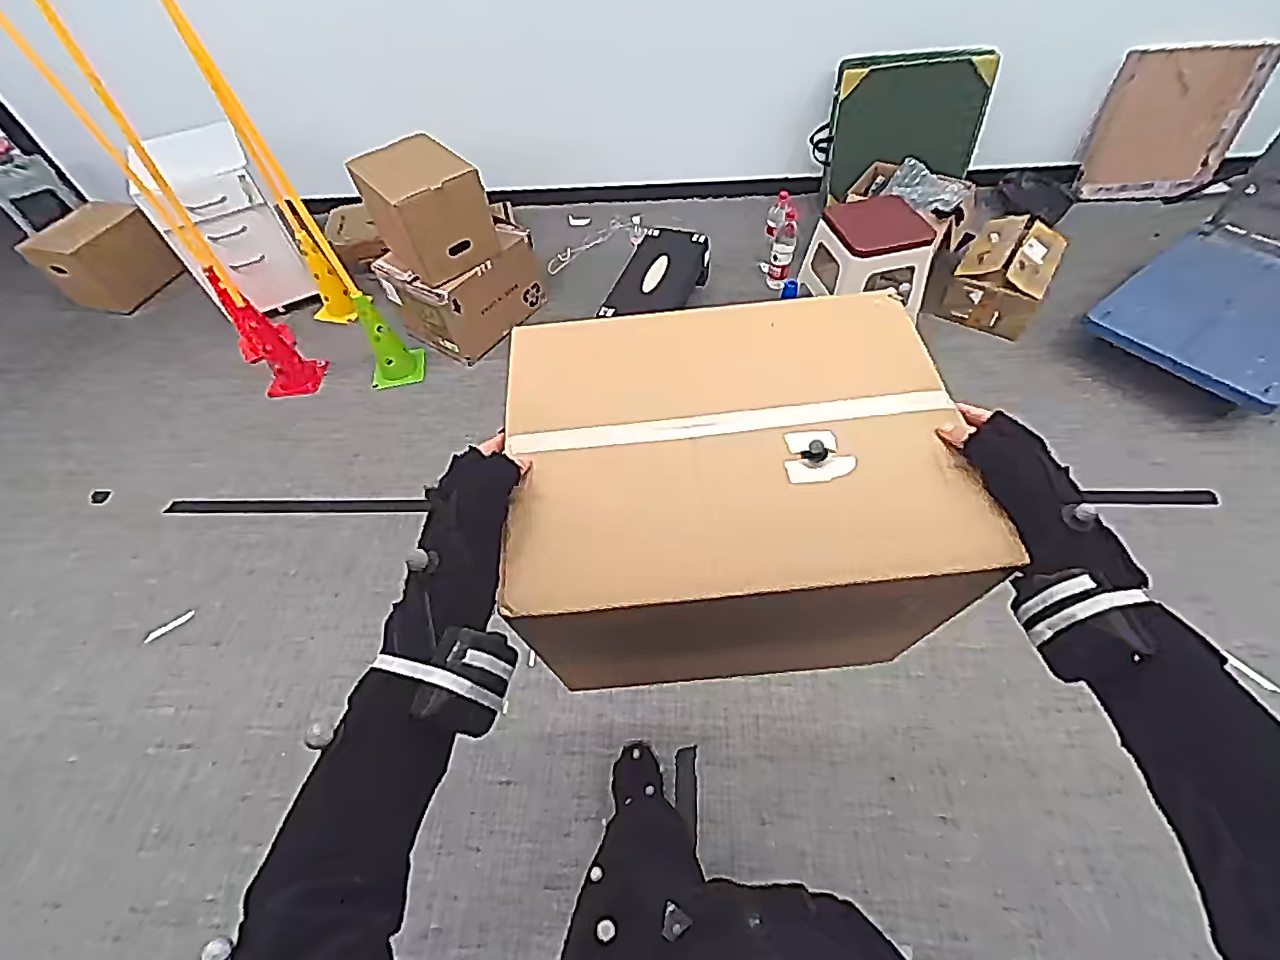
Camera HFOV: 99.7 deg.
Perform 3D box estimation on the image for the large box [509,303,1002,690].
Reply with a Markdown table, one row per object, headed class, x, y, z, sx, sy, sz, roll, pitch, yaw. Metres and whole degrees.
| class | x | y | z | sx | sy | sz | roll | pitch | yaw |
| --- | --- | --- | --- | --- | --- | --- | --- | --- | --- |
| large box | 0.085 | 0.036 | 0.630 | 0.408 | 0.320 | 0.320 | -6 | 58 | 0 |
